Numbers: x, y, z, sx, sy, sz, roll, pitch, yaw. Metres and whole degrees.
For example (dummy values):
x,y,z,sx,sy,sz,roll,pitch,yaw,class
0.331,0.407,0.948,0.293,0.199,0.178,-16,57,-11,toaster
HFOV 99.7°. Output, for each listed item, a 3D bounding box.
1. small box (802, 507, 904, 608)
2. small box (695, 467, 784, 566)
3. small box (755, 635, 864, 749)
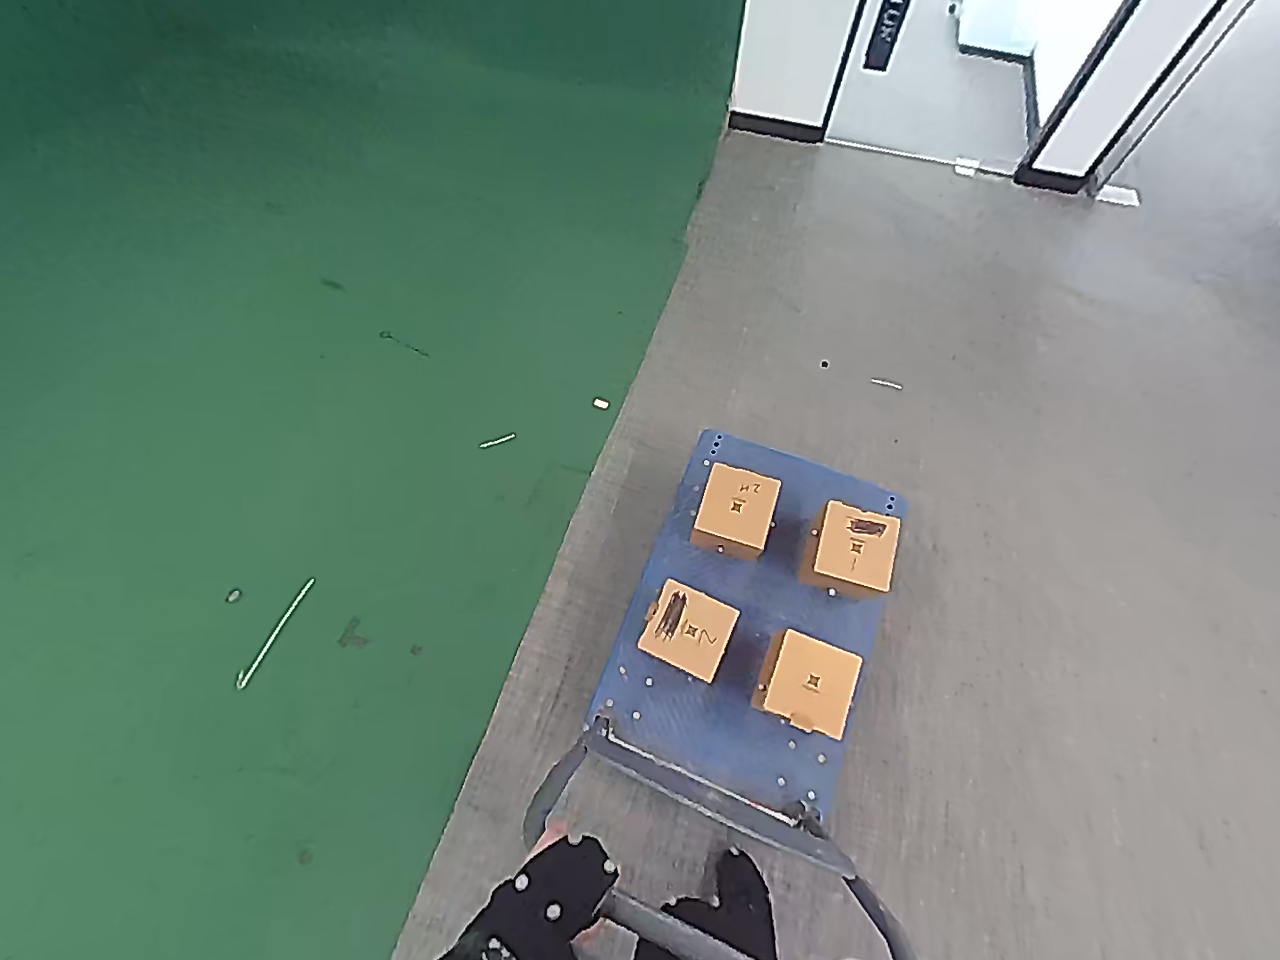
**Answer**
x,y,z,sx,sy,sz,roll,pitch,yaw,class
0.497,0.189,1.282,0.168,0.176,0.179,17,72,9,small box
0.237,0.097,1.326,0.168,0.176,0.179,18,72,8,small box
0.364,0.461,1.190,0.168,0.176,0.179,21,73,10,small box
